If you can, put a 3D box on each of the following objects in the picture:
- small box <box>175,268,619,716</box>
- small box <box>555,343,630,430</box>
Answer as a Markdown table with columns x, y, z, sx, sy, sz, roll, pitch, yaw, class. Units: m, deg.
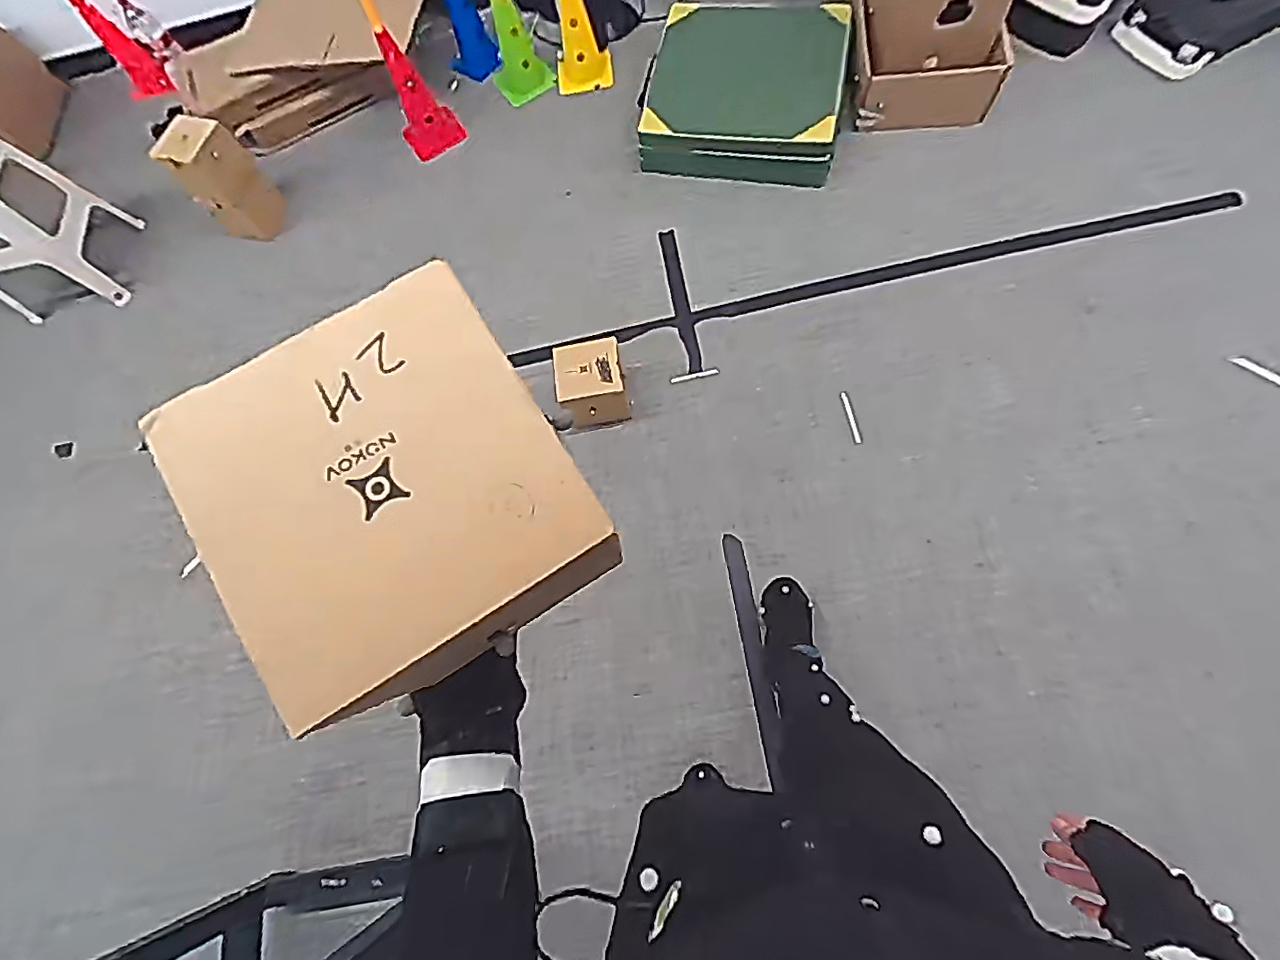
| x | y | z | sx | sy | sz | roll | pitch | yaw | class |
| --- | --- | --- | --- | --- | --- | --- | --- | --- | --- |
| -0.122 | 0.013 | 0.345 | 0.168 | 0.176 | 0.179 | -32 | 79 | -8 | small box |
| -0.125 | -0.255 | 1.501 | 0.179 | 0.176 | 0.168 | -9 | 70 | 5 | small box |
